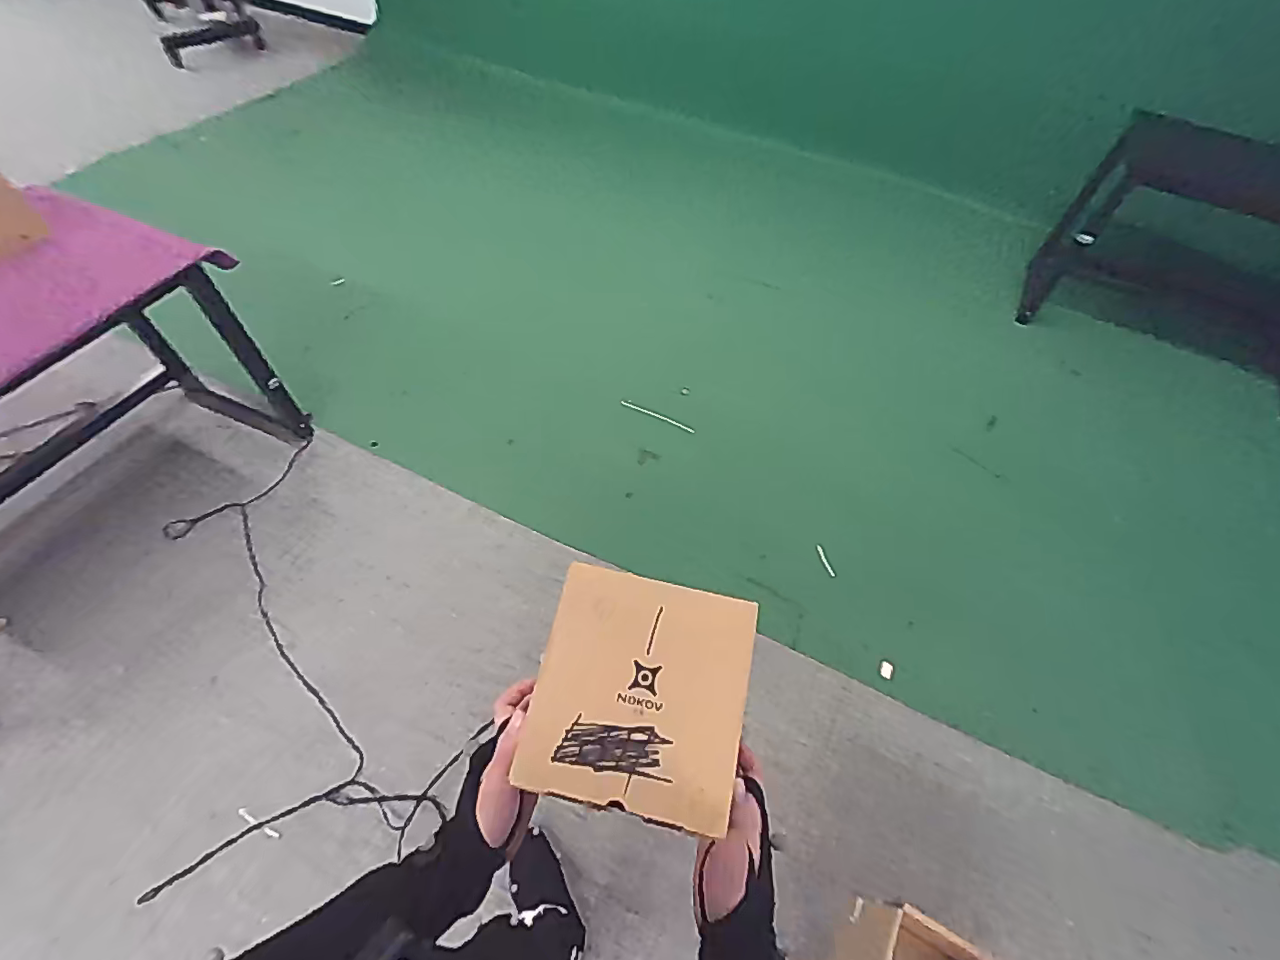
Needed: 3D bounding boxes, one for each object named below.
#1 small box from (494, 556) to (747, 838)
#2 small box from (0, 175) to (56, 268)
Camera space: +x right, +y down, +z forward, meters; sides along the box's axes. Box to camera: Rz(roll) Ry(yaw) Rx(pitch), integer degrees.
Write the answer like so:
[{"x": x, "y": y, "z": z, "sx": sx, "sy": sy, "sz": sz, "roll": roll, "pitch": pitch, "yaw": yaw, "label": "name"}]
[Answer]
[{"x": -0.010, "y": 0.189, "z": 0.492, "sx": 0.168, "sy": 0.176, "sz": 0.179, "roll": 12, "pitch": 67, "yaw": 4, "label": "small box"}, {"x": -1.589, "y": -0.631, "z": 1.288, "sx": 0.179, "sy": 0.176, "sz": 0.168, "roll": 23, "pitch": 57, "yaw": 12, "label": "small box"}]
